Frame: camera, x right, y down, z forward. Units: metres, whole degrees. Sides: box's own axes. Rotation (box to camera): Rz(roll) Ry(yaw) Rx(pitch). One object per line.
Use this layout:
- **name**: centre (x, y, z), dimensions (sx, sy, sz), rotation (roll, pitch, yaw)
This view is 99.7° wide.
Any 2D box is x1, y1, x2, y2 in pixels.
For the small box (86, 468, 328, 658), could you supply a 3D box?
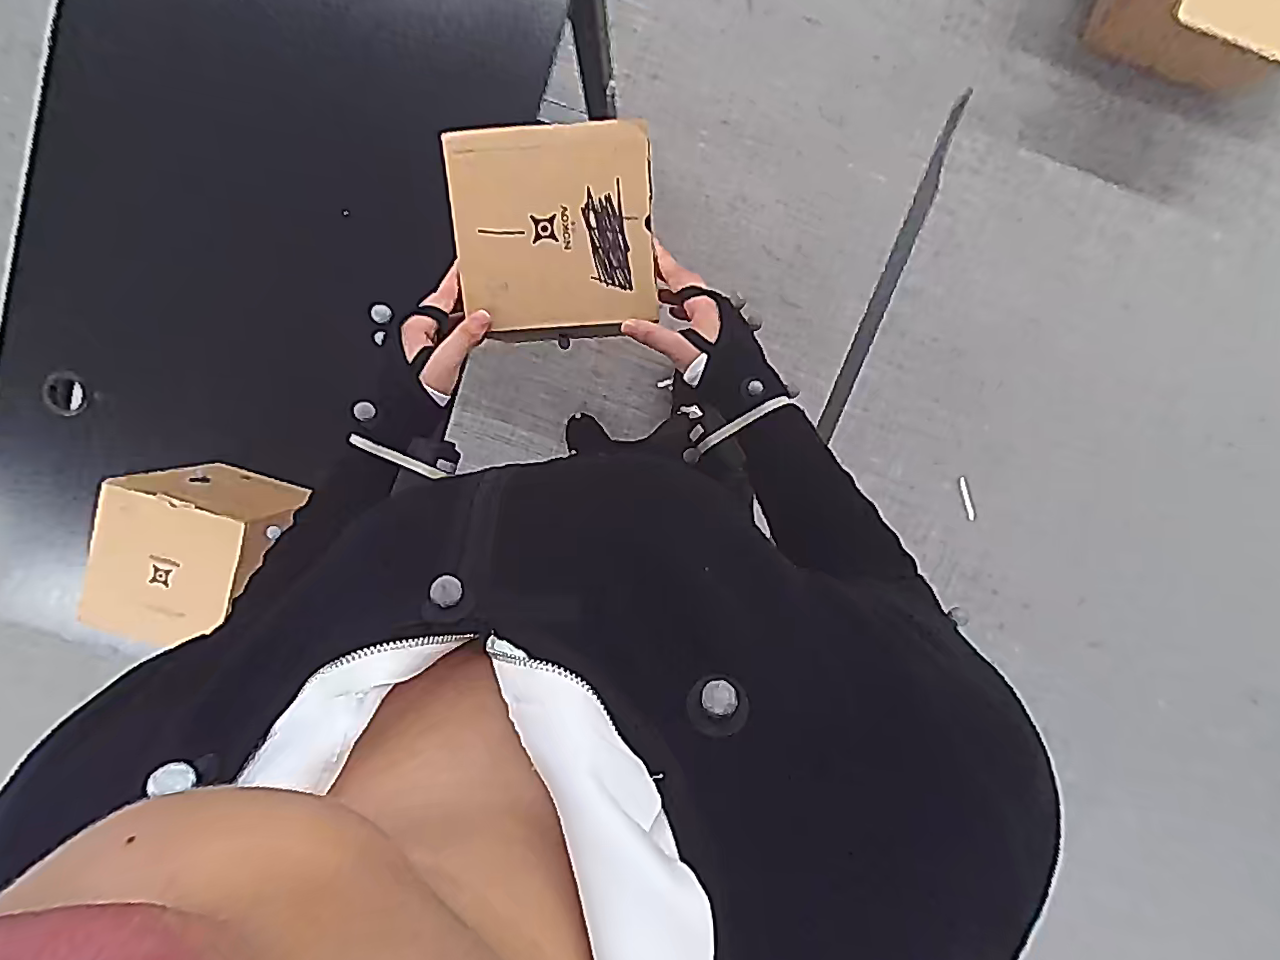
- **small box**: centre (-0.535, 0.091, 0.693), dimensions (0.168, 0.176, 0.179), rotation (16, 98, -1)

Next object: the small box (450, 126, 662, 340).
- **small box**: centre (-0.072, -0.233, 0.549), dimensions (0.179, 0.176, 0.168), rotation (-3, 101, 0)
